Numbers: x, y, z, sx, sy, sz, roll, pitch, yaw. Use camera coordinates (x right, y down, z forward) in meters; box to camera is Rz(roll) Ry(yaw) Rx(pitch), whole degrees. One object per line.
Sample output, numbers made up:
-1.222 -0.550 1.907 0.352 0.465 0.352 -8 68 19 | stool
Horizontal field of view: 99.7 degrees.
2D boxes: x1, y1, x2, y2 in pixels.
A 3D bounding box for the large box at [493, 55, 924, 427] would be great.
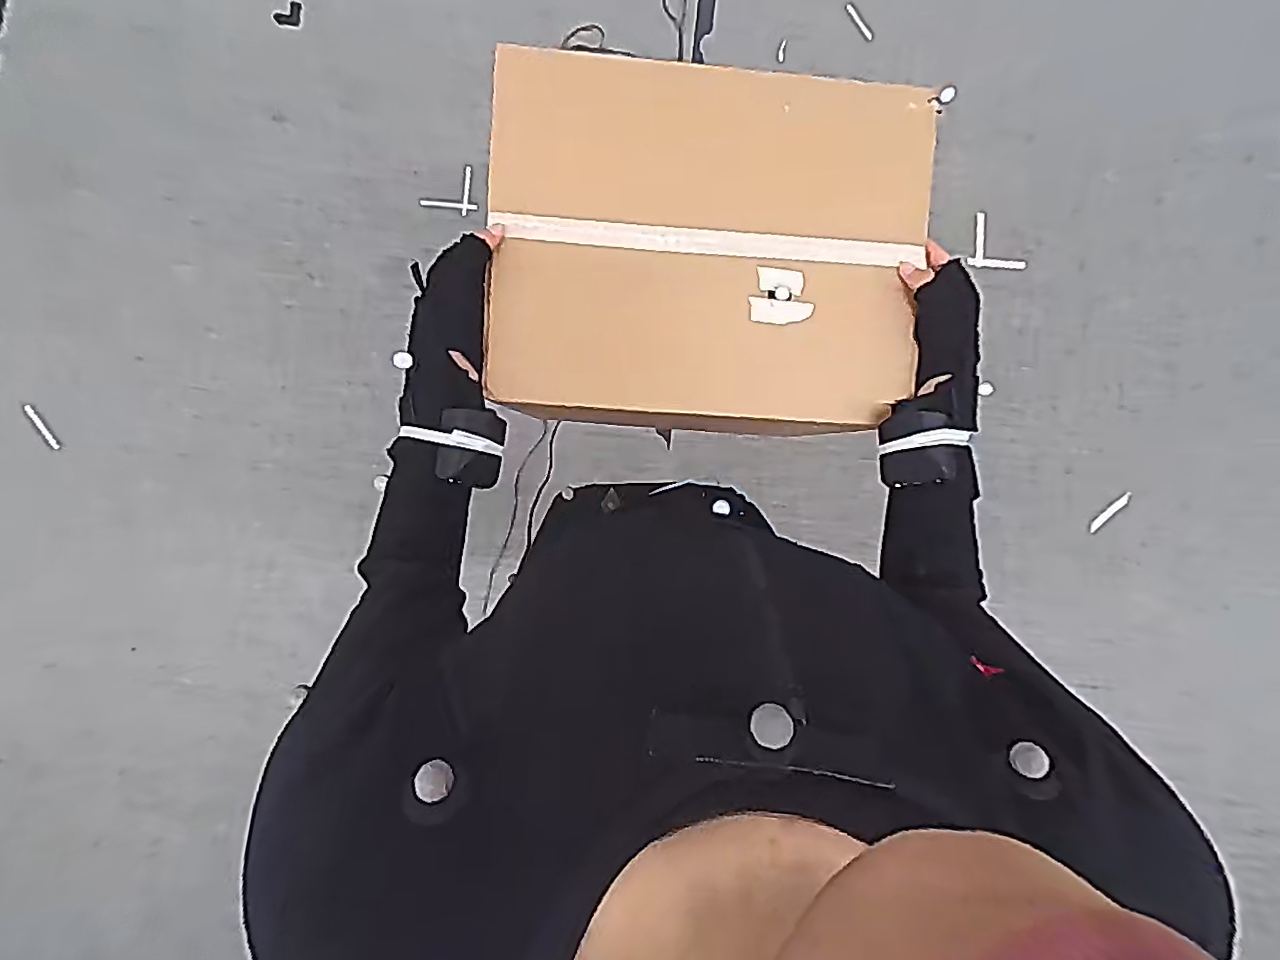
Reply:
0.055 -0.233 0.658 0.408 0.320 0.320 4 94 -4 | large box
